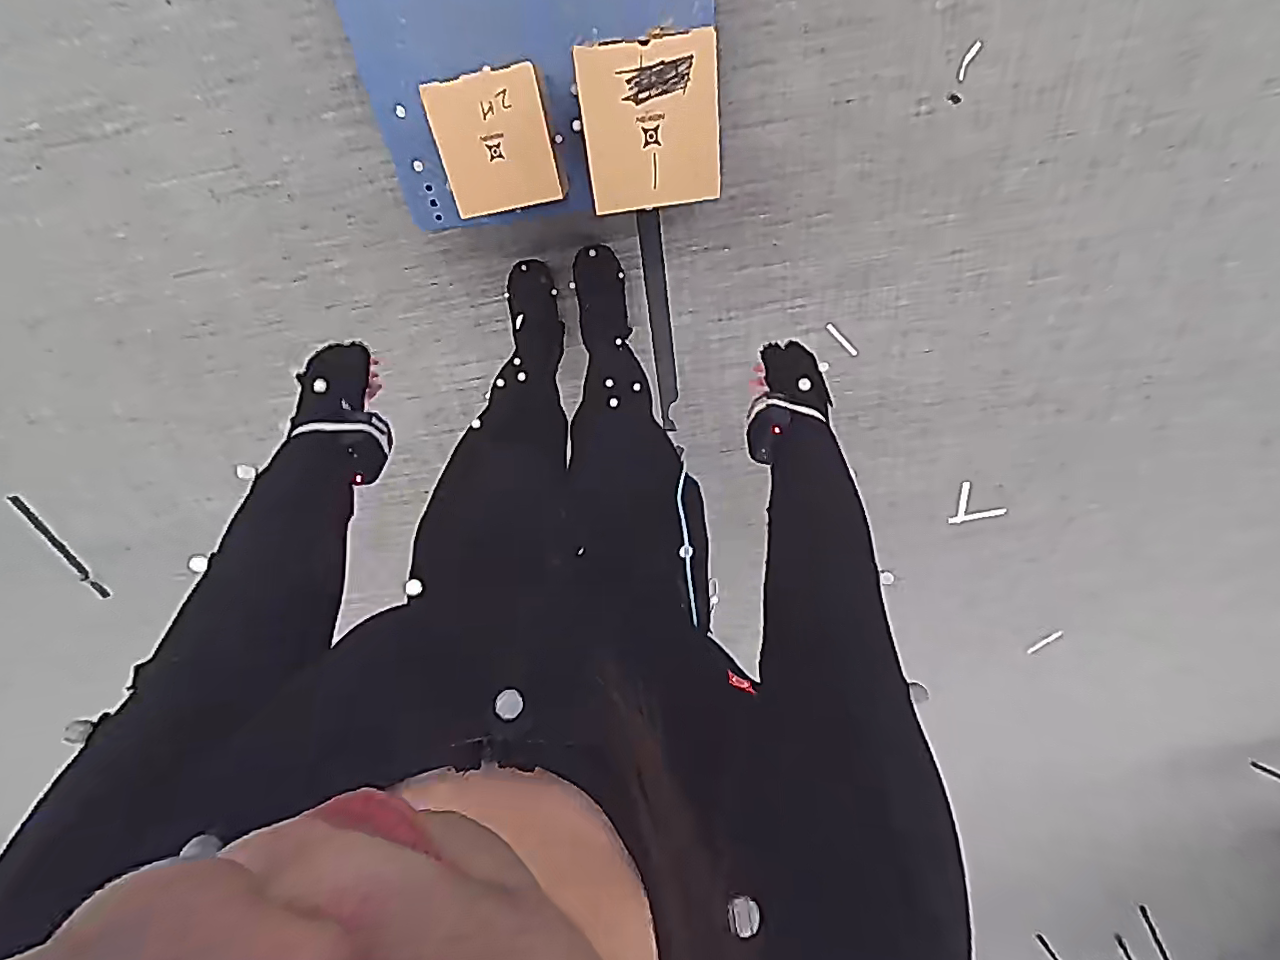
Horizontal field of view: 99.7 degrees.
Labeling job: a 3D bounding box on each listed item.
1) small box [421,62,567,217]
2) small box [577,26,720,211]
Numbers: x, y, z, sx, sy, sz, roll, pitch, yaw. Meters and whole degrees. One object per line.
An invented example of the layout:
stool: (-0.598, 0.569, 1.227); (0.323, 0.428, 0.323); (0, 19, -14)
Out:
small box: (-0.216, -0.540, 0.862); (0.168, 0.176, 0.179); (-10, 124, 3)
small box: (0.010, -0.474, 0.721); (0.168, 0.176, 0.179); (-7, 125, 1)
